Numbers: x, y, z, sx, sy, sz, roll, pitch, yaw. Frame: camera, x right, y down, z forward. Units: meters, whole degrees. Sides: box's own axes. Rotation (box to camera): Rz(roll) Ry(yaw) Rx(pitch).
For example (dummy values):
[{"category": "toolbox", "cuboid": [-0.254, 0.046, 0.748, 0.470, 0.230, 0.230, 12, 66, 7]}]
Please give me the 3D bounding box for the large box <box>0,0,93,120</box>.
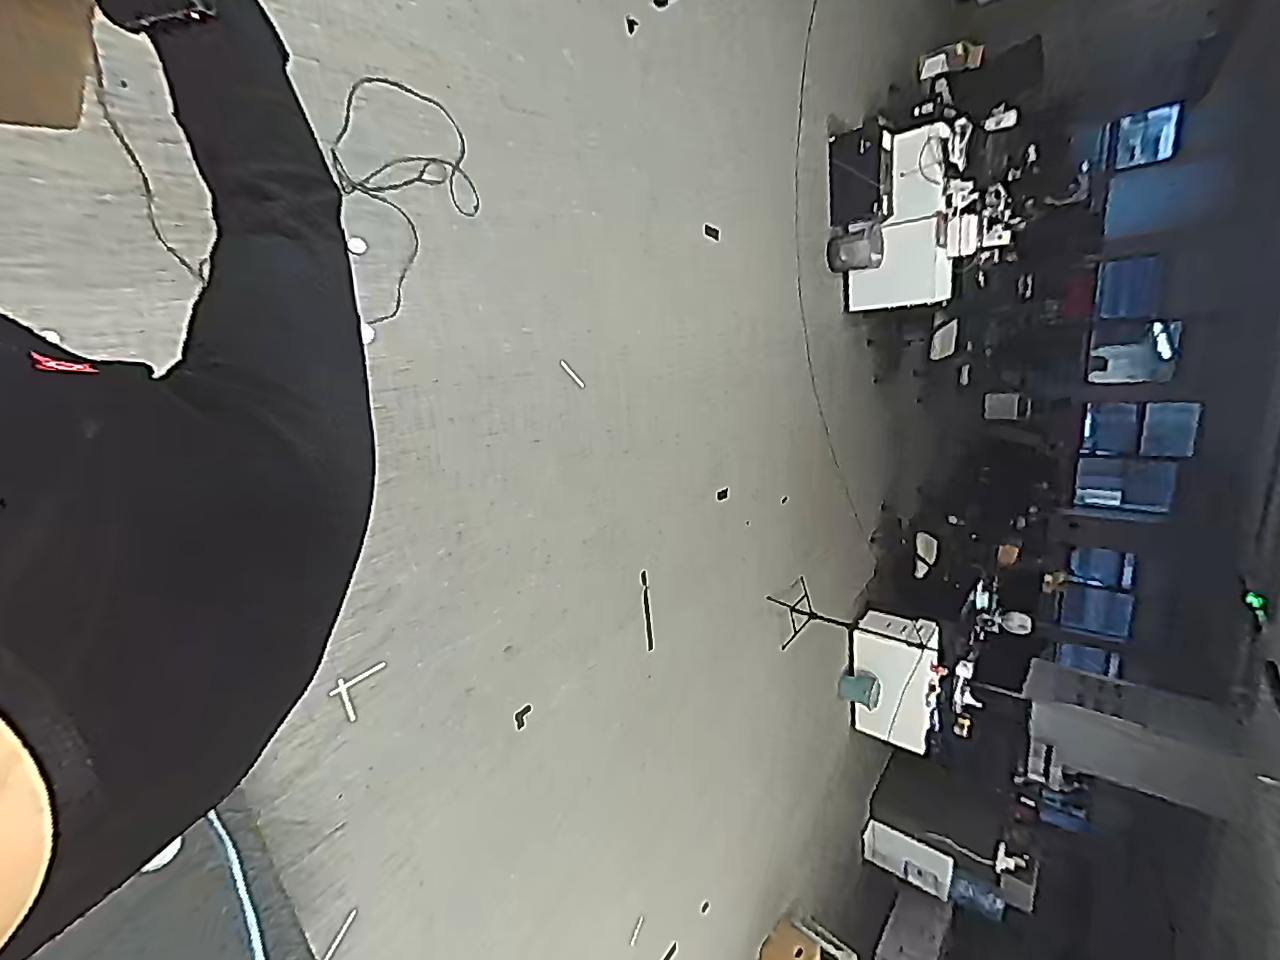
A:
[{"category": "large box", "cuboid": [-0.587, -0.411, 0.245, 0.408, 0.320, 0.320, -27, 114, -44]}]
